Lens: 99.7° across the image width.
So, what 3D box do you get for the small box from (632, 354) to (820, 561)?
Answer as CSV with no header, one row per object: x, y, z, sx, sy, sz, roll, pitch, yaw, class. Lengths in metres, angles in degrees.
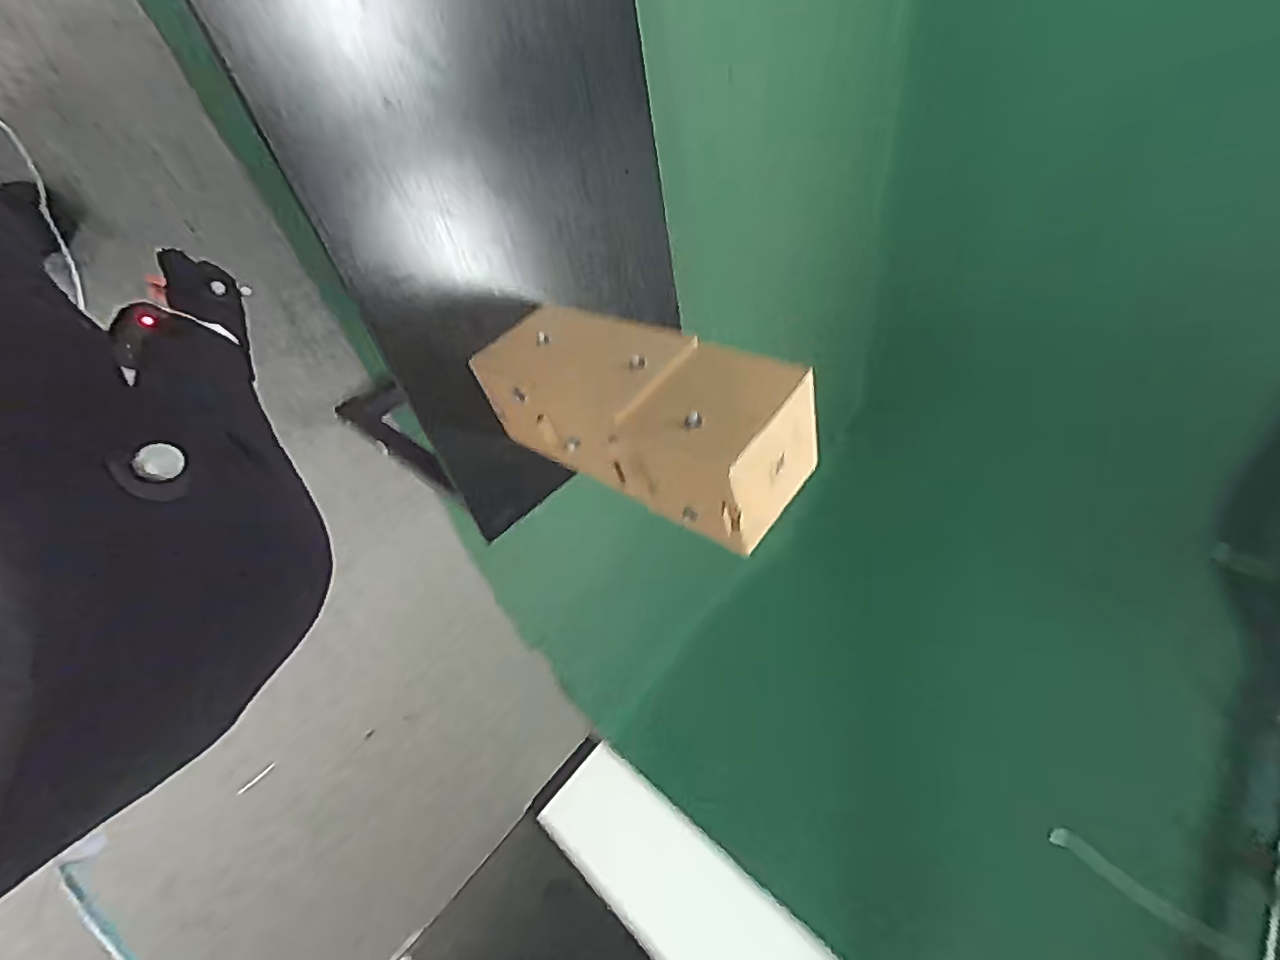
0.109,-0.035,0.691,0.179,0.176,0.168,-48,141,-23,small box

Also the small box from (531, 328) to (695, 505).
-0.024,-0.101,0.793,0.179,0.176,0.168,-47,140,-23,small box
